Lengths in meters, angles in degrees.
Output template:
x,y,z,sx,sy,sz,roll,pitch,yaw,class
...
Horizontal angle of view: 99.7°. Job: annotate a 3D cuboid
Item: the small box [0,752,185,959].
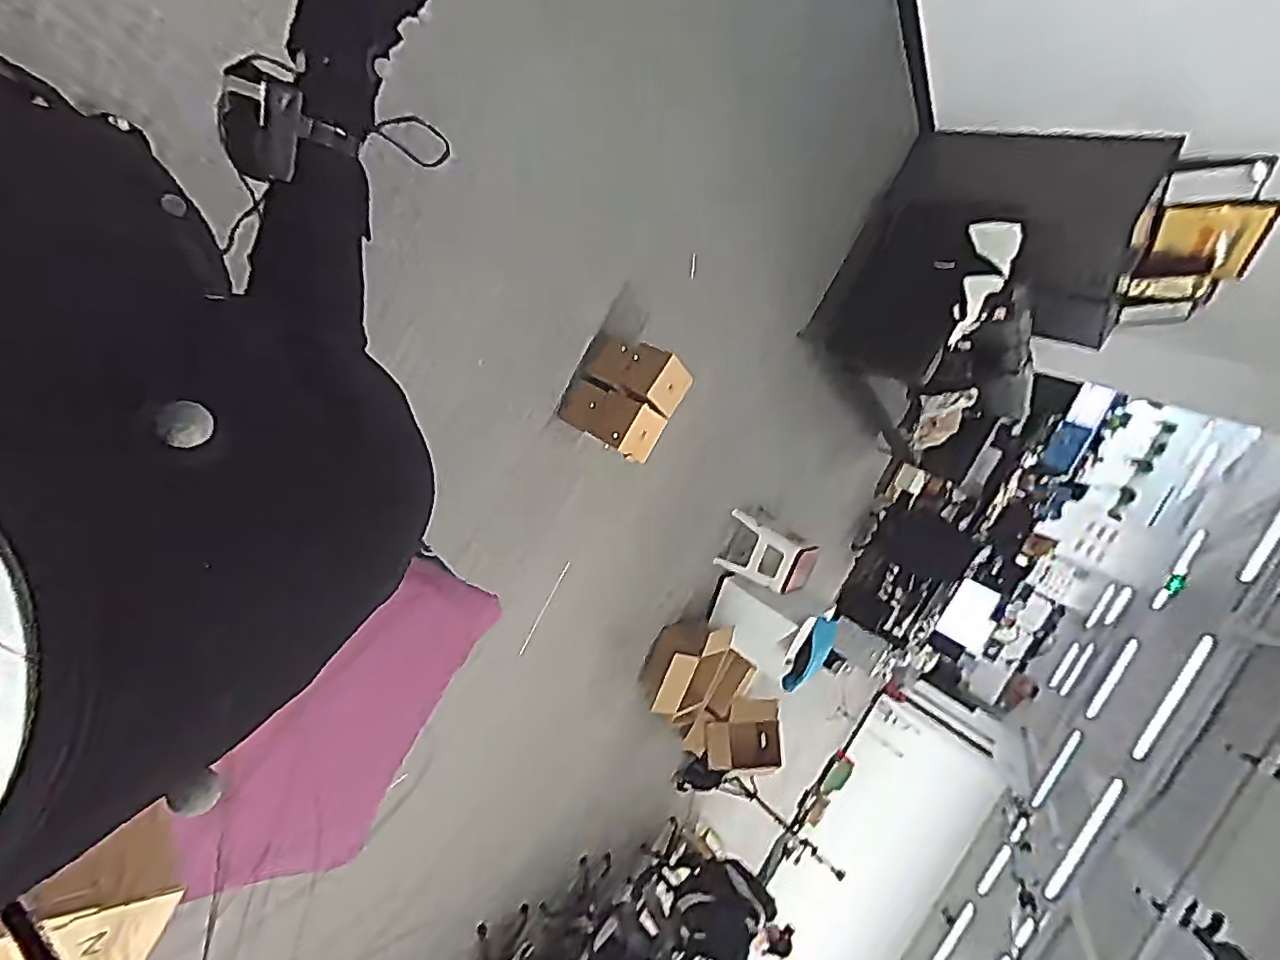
x,y,z,sx,sy,sz,roll,pitch,yaw,class
-0.552,0.378,0.477,0.168,0.176,0.179,29,91,-54,small box
